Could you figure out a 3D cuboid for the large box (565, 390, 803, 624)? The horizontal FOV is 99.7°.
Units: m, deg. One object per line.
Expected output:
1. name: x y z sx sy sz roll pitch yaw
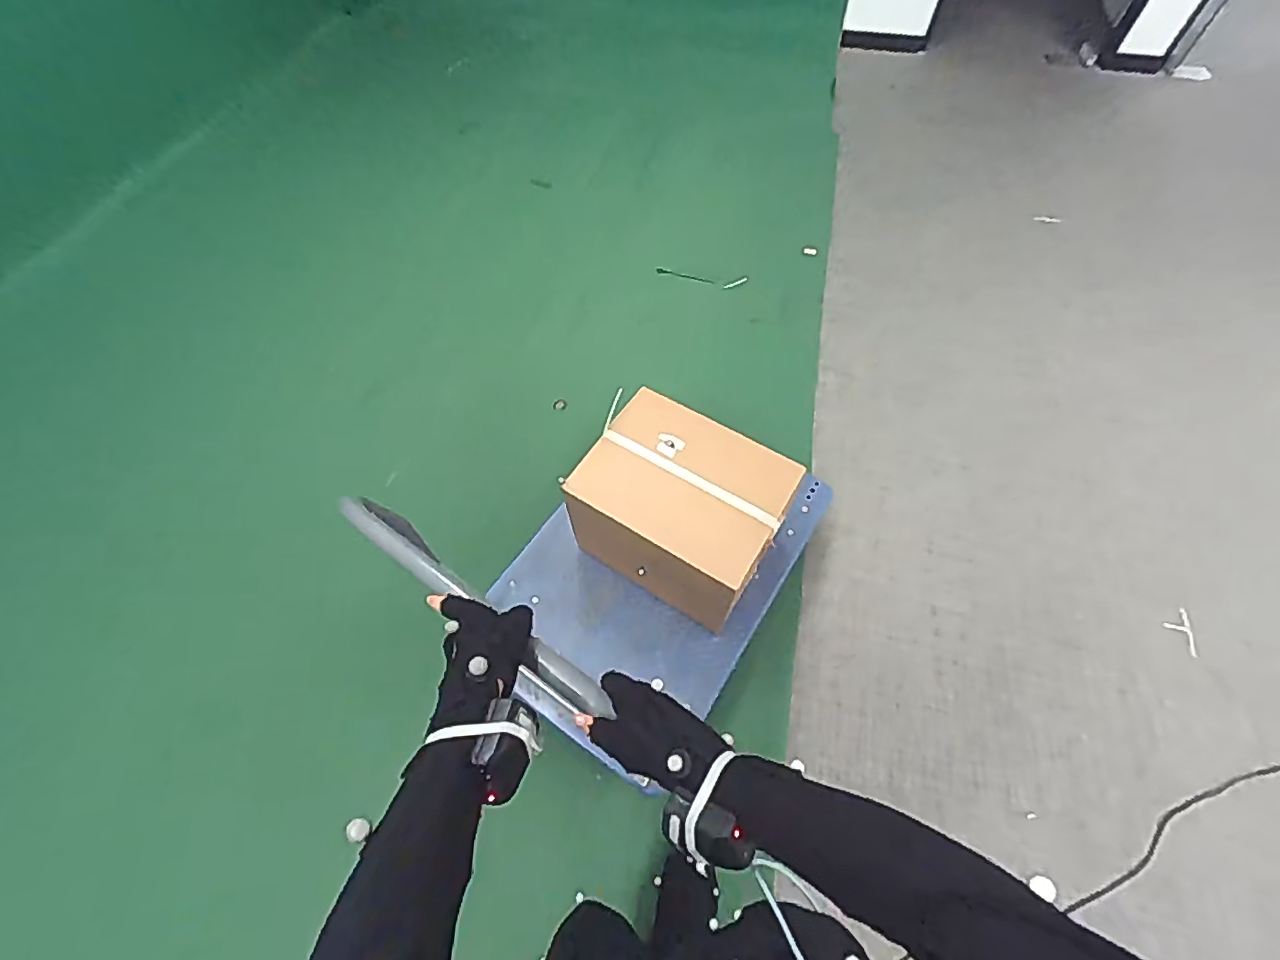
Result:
1. large box: 0.098 0.069 1.238 0.408 0.320 0.320 28 64 17
